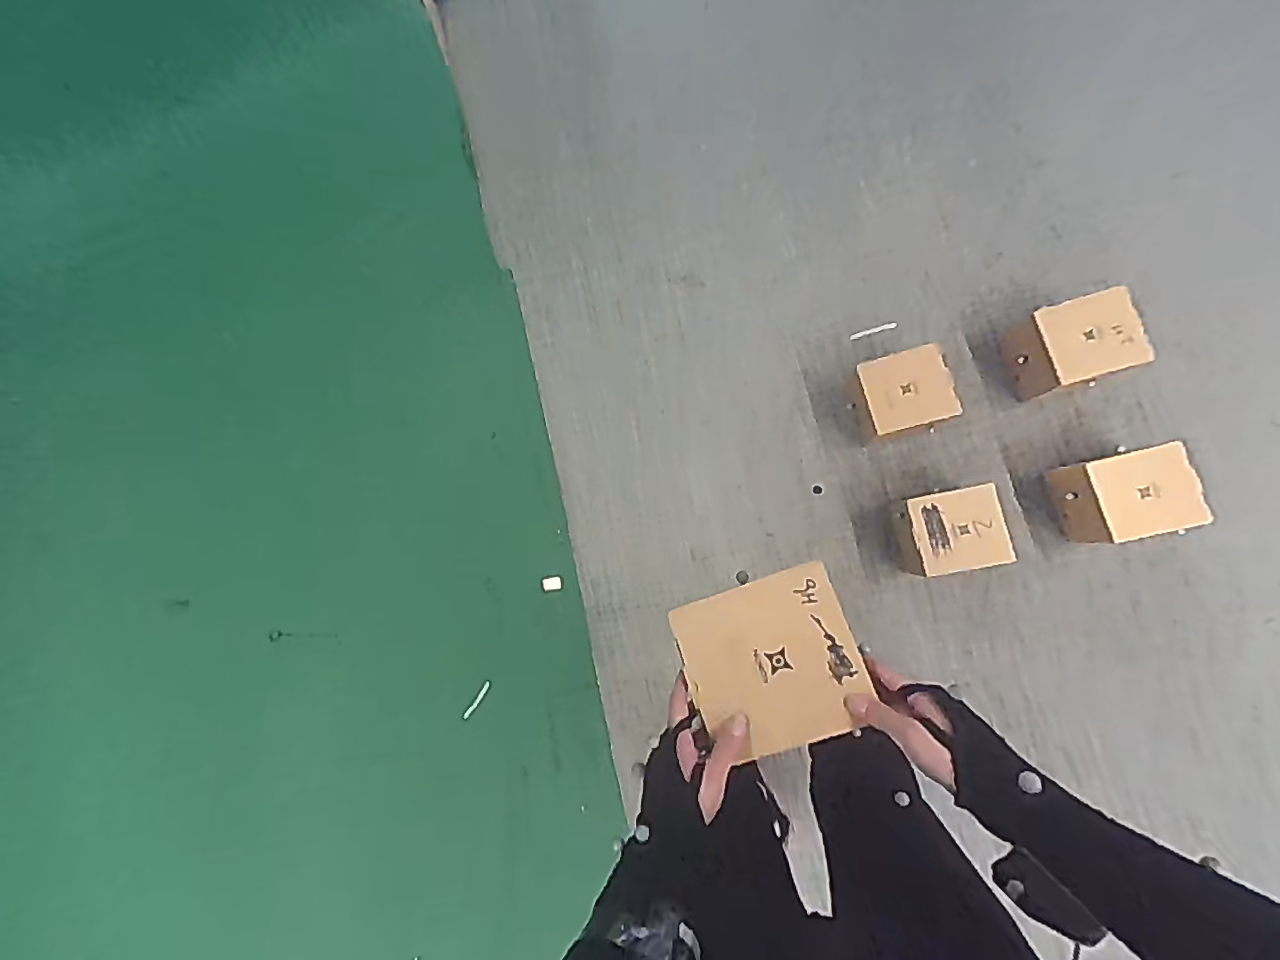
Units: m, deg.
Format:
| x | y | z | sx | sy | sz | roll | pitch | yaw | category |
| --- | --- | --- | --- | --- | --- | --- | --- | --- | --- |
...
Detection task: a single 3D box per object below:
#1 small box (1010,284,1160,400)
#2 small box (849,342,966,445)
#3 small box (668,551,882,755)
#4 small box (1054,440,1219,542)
| x | y | z | sx | sy | sz | roll | pitch | yaw | category |
| --- | --- | --- | --- | --- | --- | --- | --- | --- | --- |
| 0.933 | -0.284 | 1.159 | 0.179 | 0.176 | 0.168 | -16 | 82 | 10 | small box |
| 0.594 | -0.188 | 1.222 | 0.179 | 0.176 | 0.168 | -15 | 81 | 10 | small box |
| 0.151 | 0.192 | 0.627 | 0.179 | 0.176 | 0.168 | -20 | 75 | 9 | small box |
| 1.002 | 0.032 | 1.116 | 0.179 | 0.176 | 0.168 | -16 | 81 | 9 | small box |
